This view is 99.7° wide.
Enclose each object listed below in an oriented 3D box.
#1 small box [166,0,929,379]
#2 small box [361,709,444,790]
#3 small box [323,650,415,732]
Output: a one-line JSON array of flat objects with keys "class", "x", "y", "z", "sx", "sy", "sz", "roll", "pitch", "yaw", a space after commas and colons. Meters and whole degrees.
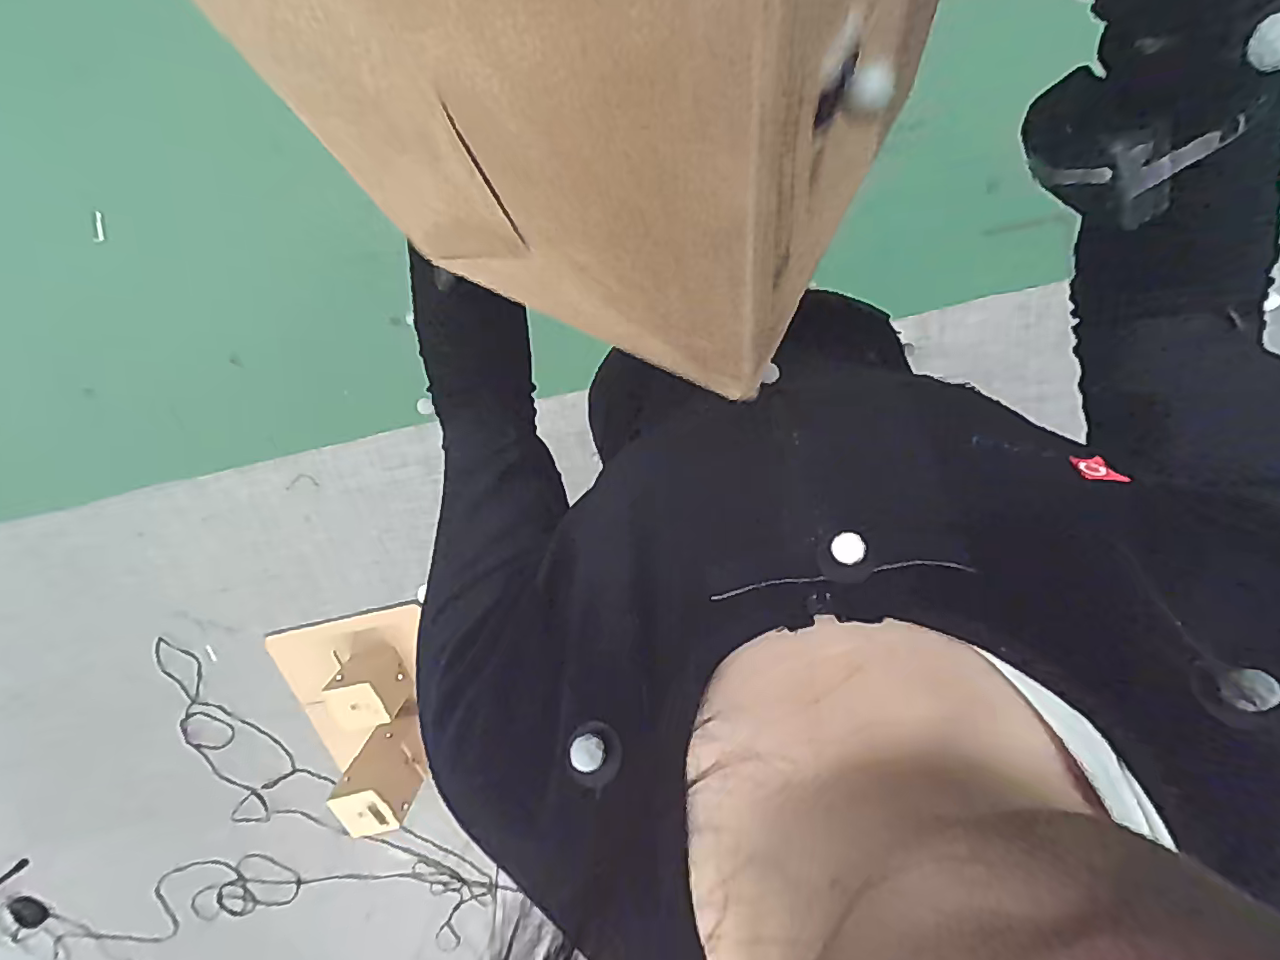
[{"class": "small box", "x": -0.010, "y": -0.158, "z": 0.178, "sx": 0.179, "sy": 0.168, "sz": 0.176, "roll": 27, "pitch": 90, "yaw": 14}, {"class": "small box", "x": -0.794, "y": 0.909, "z": 1.836, "sx": 0.179, "sy": 0.176, "sz": 0.168, "roll": -18, "pitch": 108, "yaw": 11}, {"class": "small box", "x": -0.874, "y": 0.683, "z": 1.762, "sx": 0.179, "sy": 0.176, "sz": 0.168, "roll": -14, "pitch": 110, "yaw": 9}]
